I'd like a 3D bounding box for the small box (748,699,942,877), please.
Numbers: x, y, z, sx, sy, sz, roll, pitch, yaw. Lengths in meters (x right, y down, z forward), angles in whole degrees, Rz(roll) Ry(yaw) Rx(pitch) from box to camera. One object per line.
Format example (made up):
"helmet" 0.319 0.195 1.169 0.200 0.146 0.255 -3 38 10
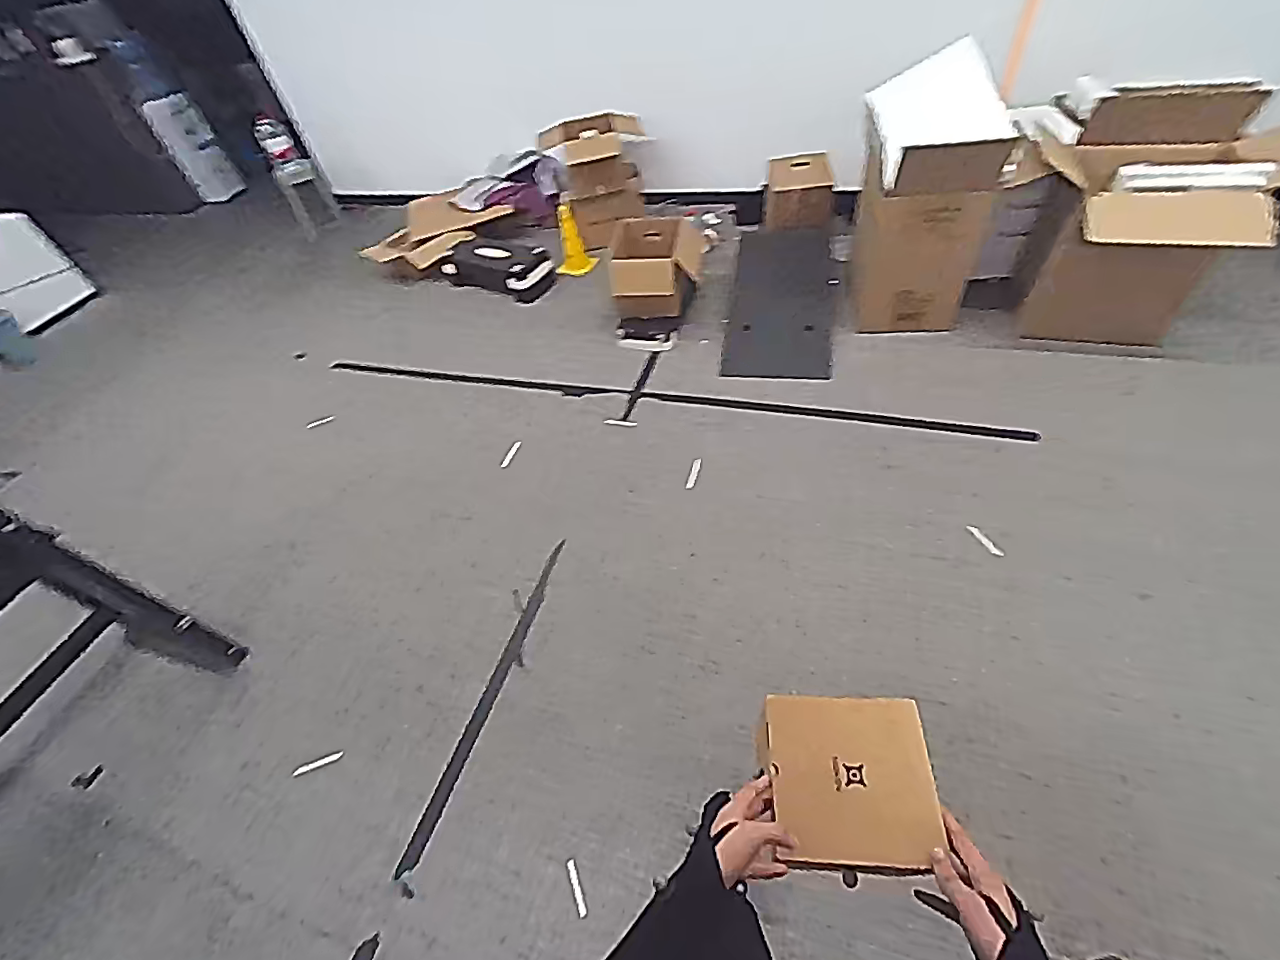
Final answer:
"small box" 0.228 0.375 0.656 0.179 0.176 0.168 -2 53 7
